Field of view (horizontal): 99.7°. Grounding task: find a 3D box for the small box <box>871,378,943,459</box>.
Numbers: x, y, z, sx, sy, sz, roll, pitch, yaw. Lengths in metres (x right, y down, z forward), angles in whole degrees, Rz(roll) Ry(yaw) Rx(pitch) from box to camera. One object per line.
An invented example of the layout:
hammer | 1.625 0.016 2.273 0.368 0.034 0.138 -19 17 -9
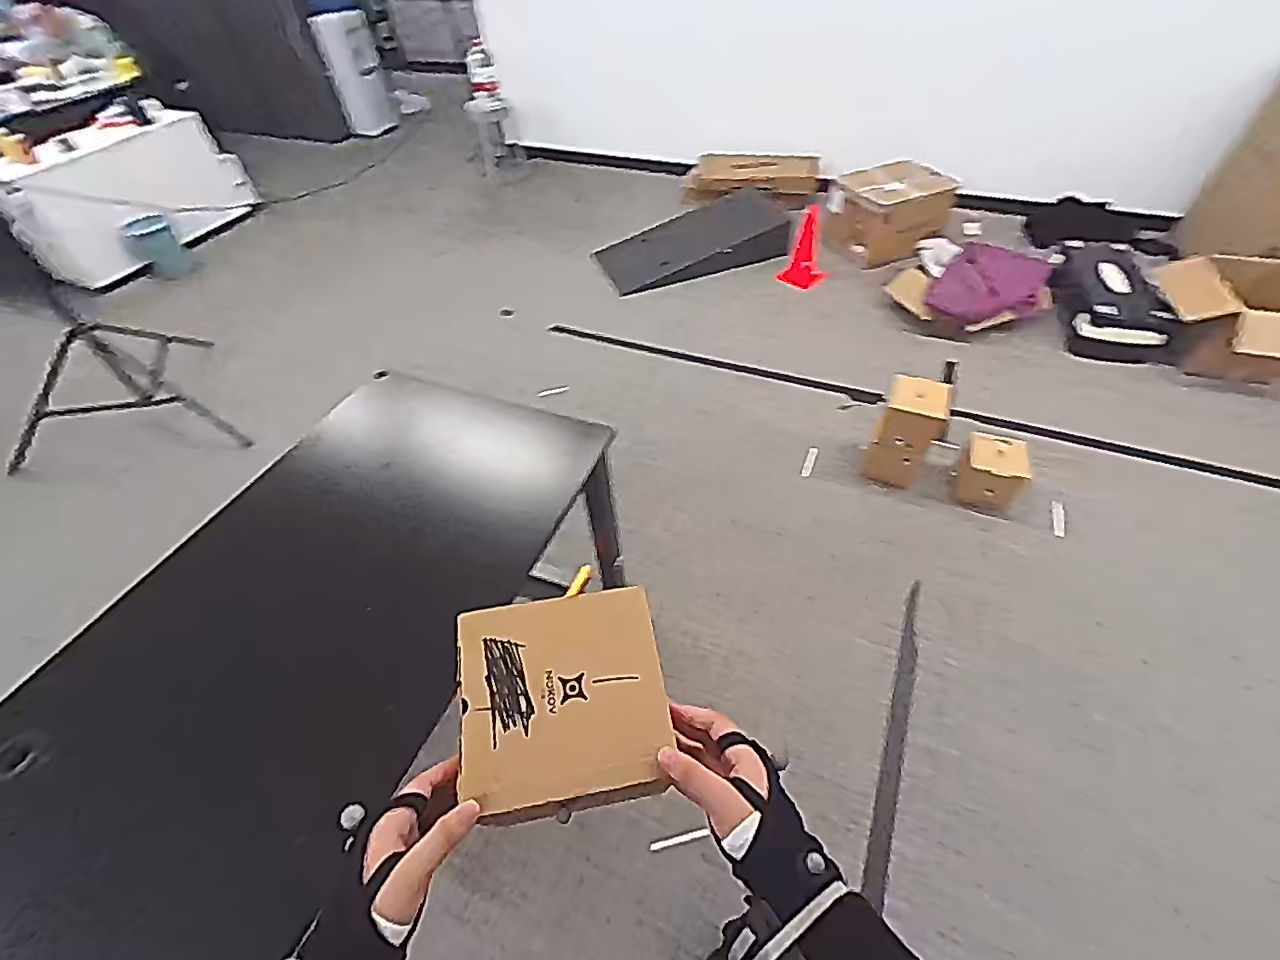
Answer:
small box | 0.873 -0.201 1.772 0.168 0.176 0.179 16 53 18

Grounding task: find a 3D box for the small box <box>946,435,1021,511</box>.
small box | 1.150 -0.020 1.818 0.168 0.176 0.179 14 52 15

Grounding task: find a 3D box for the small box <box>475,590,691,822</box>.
small box | -0.057 0.228 0.537 0.179 0.176 0.168 -7 56 -8

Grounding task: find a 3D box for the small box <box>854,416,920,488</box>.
small box | 0.872 -0.094 1.895 0.179 0.176 0.168 17 52 18
